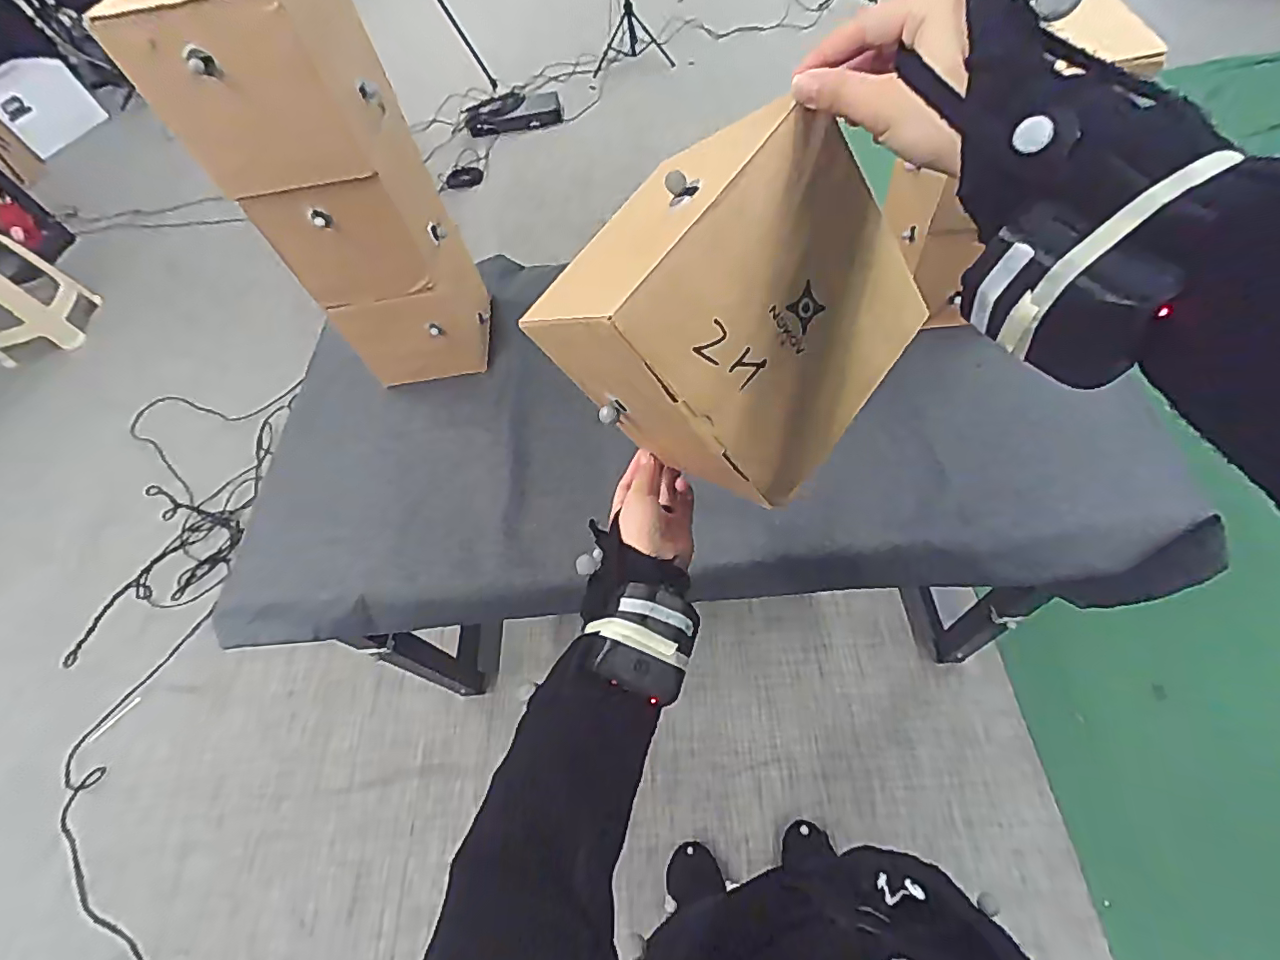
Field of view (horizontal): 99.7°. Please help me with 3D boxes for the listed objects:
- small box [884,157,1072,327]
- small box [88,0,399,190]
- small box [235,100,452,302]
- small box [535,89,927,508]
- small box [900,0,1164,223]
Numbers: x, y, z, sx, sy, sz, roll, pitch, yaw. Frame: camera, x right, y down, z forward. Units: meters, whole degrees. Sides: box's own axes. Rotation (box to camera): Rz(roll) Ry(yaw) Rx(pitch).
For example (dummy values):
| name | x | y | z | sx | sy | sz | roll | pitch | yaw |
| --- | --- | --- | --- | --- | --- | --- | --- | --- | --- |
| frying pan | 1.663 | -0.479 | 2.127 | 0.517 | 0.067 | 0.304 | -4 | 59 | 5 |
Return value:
| name | x | y | z | sx | sy | sz | roll | pitch | yaw |
| --- | --- | --- | --- | --- | --- | --- | --- | --- | --- |
| small box | 0.448 | -0.342 | 0.765 | 0.168 | 0.176 | 0.179 | -4 | 60 | 7 |
| small box | -0.389 | -0.434 | 0.570 | 0.179 | 0.176 | 0.168 | -7 | 60 | 4 |
| small box | -0.372 | -0.359 | 0.715 | 0.179 | 0.176 | 0.168 | -8 | 60 | 2 |
| small box | 0.053 | -0.114 | 0.381 | 0.179 | 0.168 | 0.176 | -50 | 30 | -7 |
| small box | 0.422 | -0.419 | 0.623 | 0.168 | 0.176 | 0.179 | -3 | 61 | 7 |
